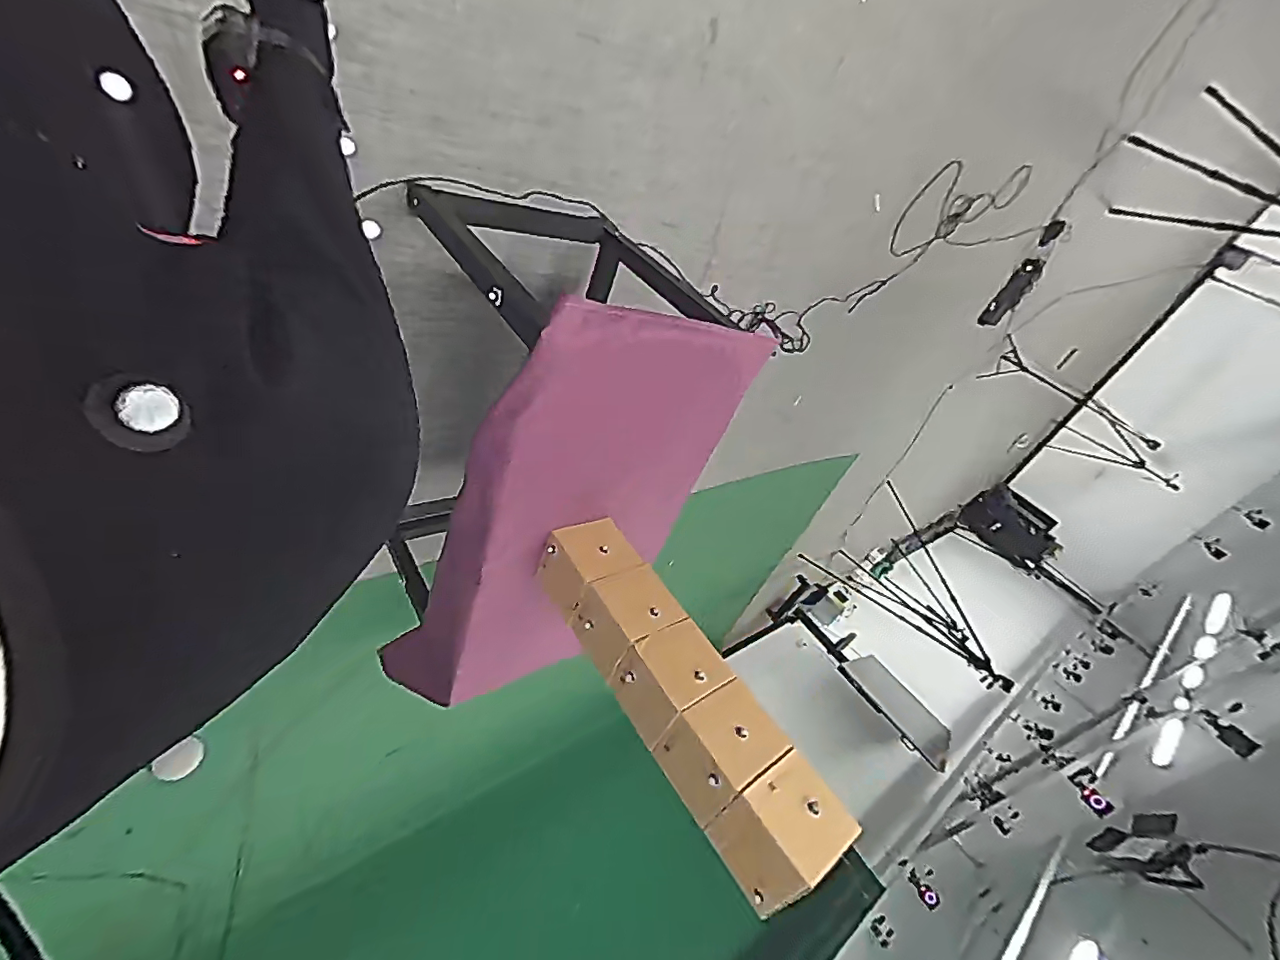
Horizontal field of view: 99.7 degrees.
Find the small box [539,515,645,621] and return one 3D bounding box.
[{"bbox_3d":[-0.124,0.207,1.322,0.179,0.176,0.168,-11,138,-40],"label":"small box"}]

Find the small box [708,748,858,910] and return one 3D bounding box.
[{"bbox_3d":[0.255,0.628,0.995,0.168,0.176,0.179,-12,139,-40],"label":"small box"}]

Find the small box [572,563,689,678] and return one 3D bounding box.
[{"bbox_3d":[-0.026,0.312,1.241,0.179,0.176,0.168,-10,138,-39],"label":"small box"}]

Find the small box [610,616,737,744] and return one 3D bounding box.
[{"bbox_3d":[0.067,0.419,1.161,0.179,0.176,0.168,-11,138,-39],"label":"small box"}]
